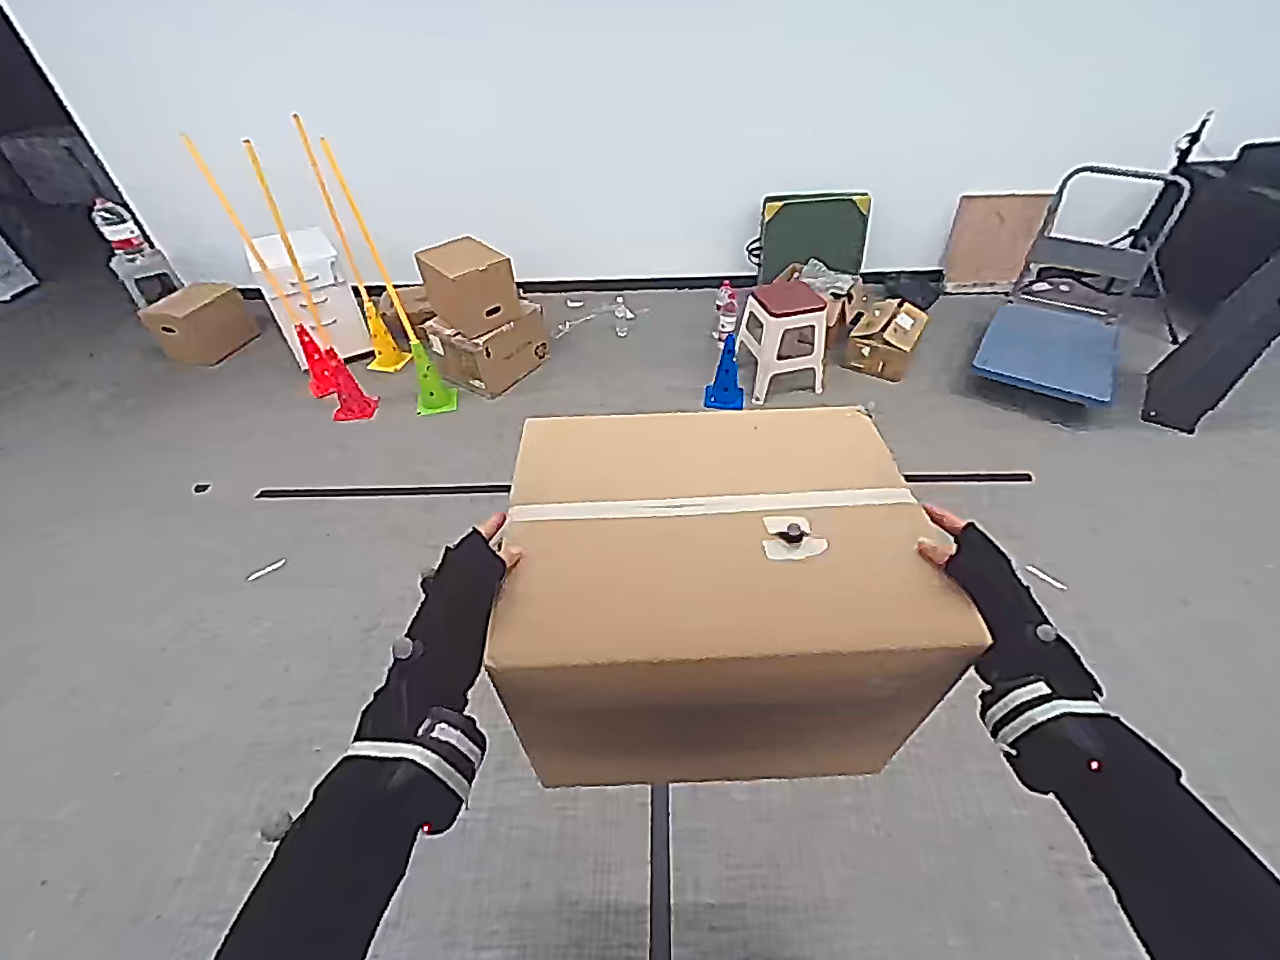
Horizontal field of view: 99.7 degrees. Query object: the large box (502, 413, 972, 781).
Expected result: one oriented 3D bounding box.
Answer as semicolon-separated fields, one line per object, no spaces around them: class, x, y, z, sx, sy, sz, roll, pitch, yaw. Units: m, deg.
large box;0.076;0.139;0.654;0.408;0.320;0.320;-2;45;-1
